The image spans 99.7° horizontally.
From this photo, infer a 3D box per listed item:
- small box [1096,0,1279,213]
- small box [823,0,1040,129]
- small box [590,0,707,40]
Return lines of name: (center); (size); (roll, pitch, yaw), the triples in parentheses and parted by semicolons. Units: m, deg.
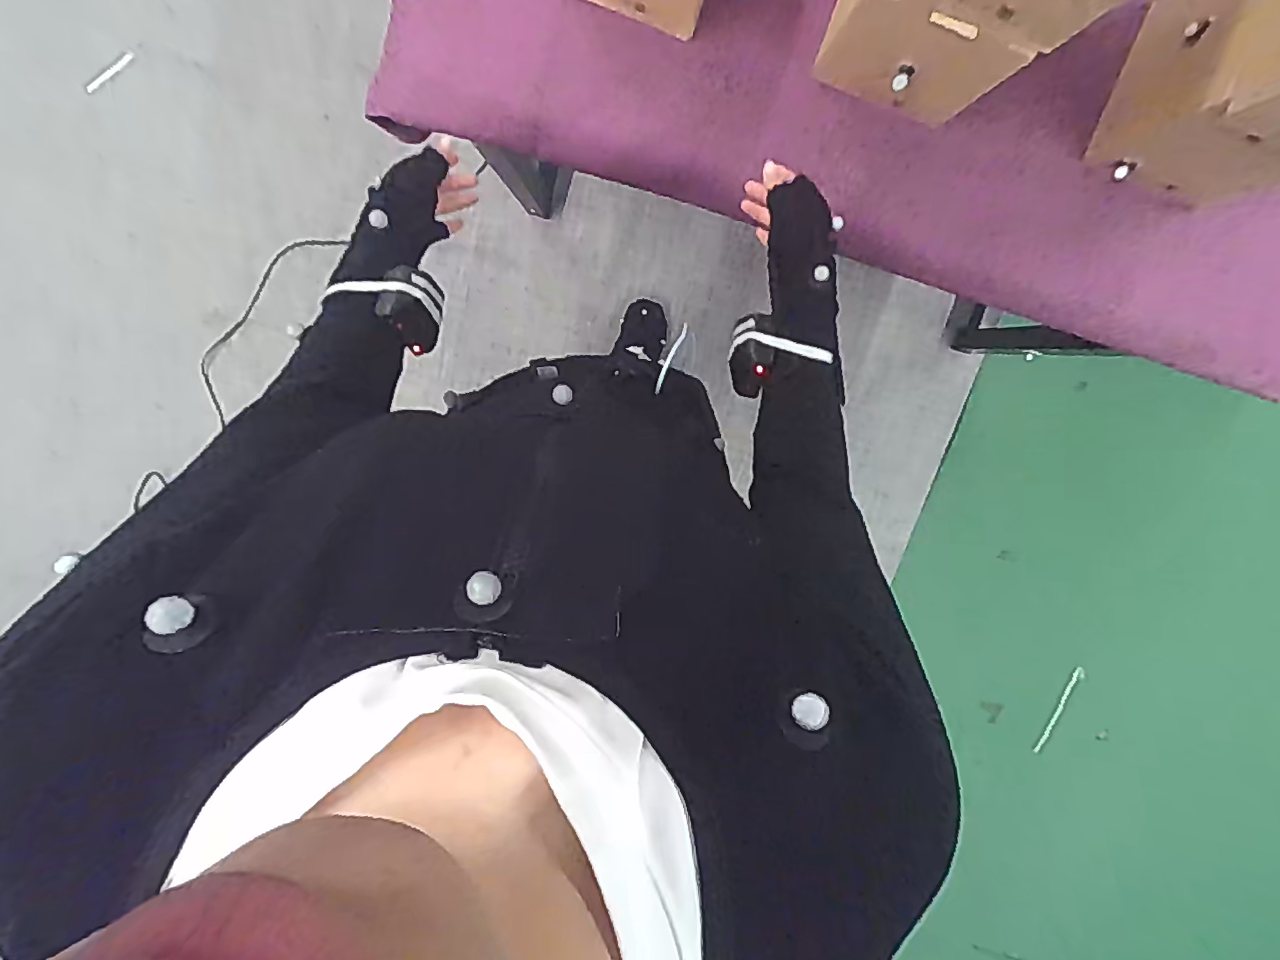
small box: (0.633, -0.402, 0.555); (0.168, 0.176, 0.179); (19, 103, -7)
small box: (0.303, -0.488, 0.532); (0.168, 0.176, 0.179); (19, 103, -6)
small box: (0.014, -0.577, 0.506); (0.168, 0.176, 0.179); (19, 104, -6)
